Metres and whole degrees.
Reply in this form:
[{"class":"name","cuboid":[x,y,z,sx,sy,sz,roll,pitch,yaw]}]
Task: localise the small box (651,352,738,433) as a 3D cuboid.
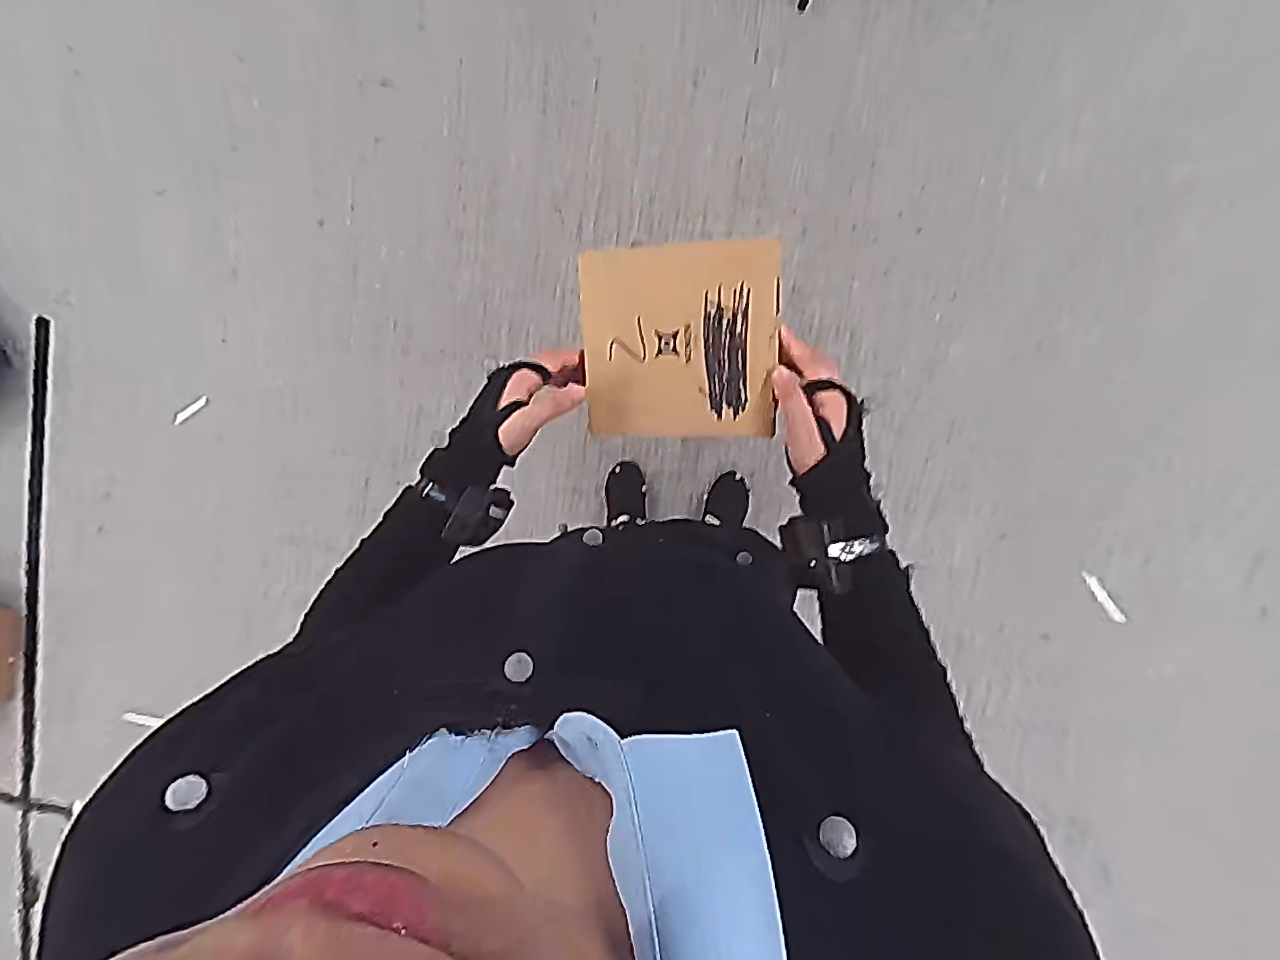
[{"class":"small box","cuboid":[0.122,-0.193,1.219,0.179,0.176,0.168,3,95,7]}]
